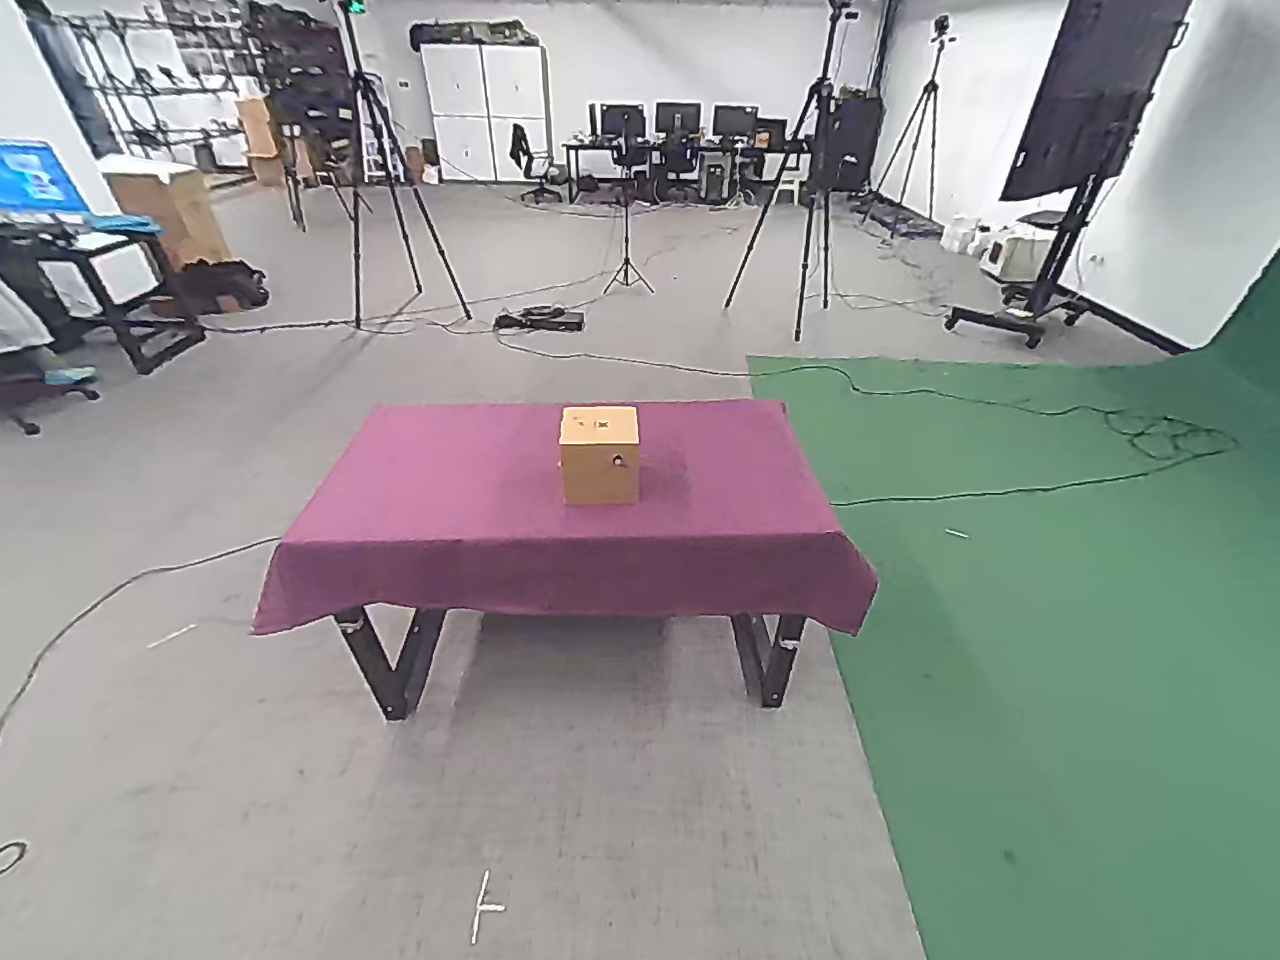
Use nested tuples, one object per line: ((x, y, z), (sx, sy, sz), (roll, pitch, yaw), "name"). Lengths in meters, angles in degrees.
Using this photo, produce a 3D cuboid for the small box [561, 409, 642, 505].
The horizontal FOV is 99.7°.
((-0.088, -0.053, 1.273), (0.179, 0.176, 0.168), (-1, 36, -2), "small box")
